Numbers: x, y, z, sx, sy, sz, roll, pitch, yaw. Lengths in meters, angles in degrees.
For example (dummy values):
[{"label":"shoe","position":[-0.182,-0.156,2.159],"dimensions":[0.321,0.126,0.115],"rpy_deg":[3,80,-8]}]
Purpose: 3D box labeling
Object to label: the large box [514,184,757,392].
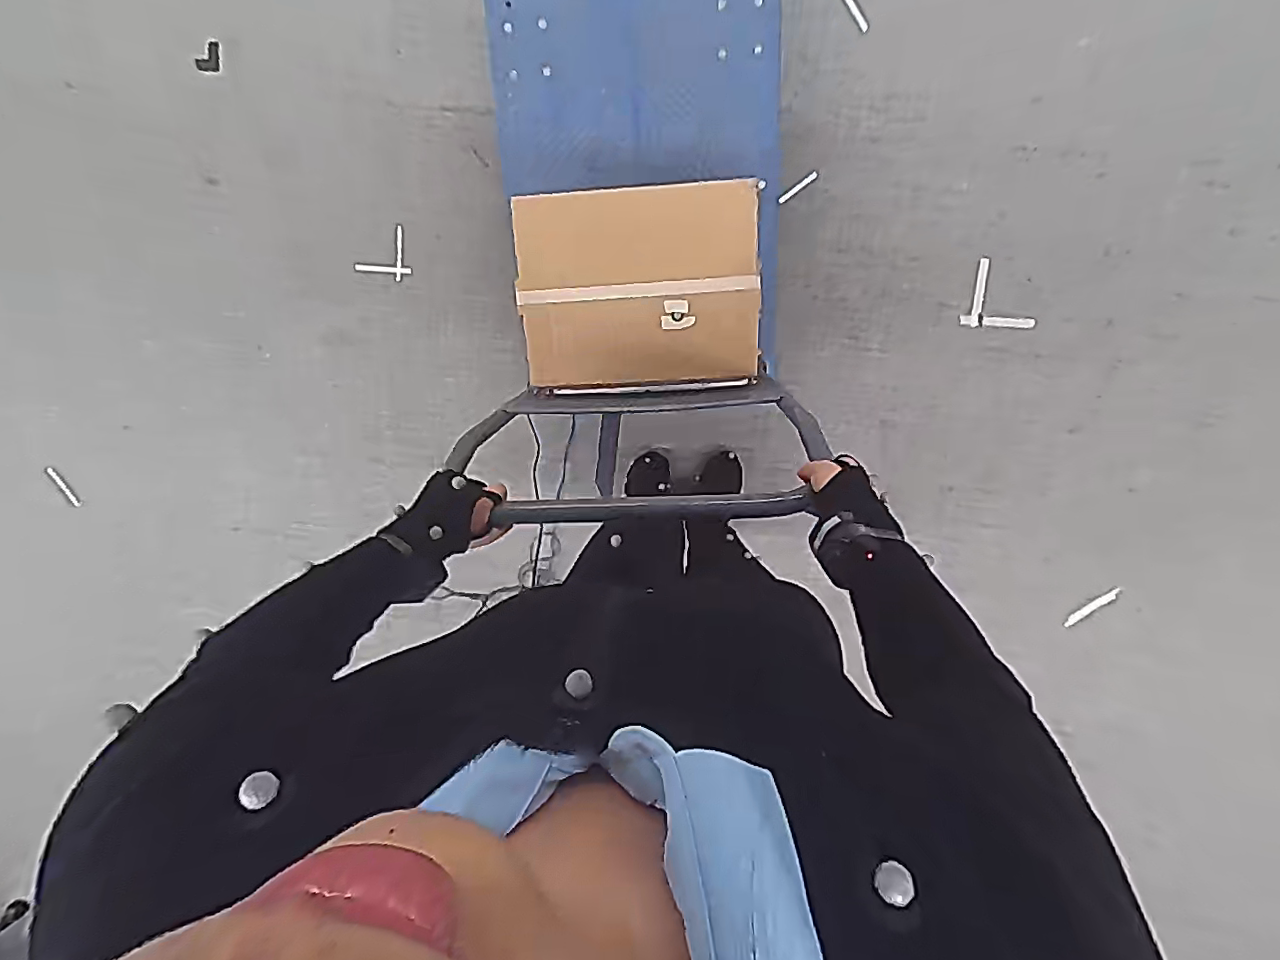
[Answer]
[{"label":"large box","position":[0.004,-0.362,1.067],"dimensions":[0.408,0.320,0.320],"rpy_deg":[-3,108,4]}]
